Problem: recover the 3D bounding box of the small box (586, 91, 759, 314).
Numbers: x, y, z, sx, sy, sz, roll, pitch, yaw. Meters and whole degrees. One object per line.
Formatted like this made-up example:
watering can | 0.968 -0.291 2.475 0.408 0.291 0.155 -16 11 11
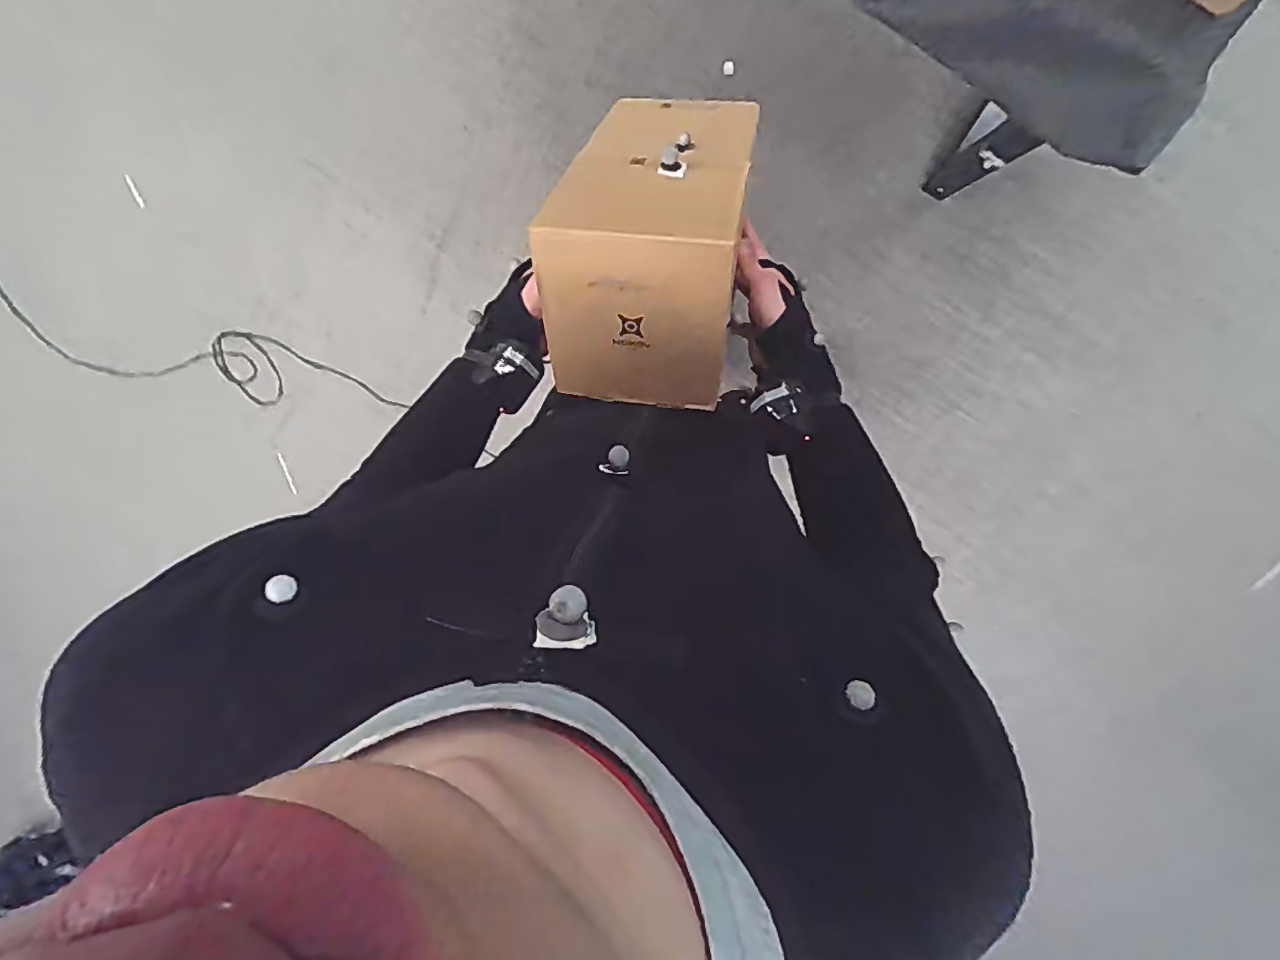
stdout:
small box | 0.044 -0.325 0.638 0.168 0.176 0.179 8 142 8
